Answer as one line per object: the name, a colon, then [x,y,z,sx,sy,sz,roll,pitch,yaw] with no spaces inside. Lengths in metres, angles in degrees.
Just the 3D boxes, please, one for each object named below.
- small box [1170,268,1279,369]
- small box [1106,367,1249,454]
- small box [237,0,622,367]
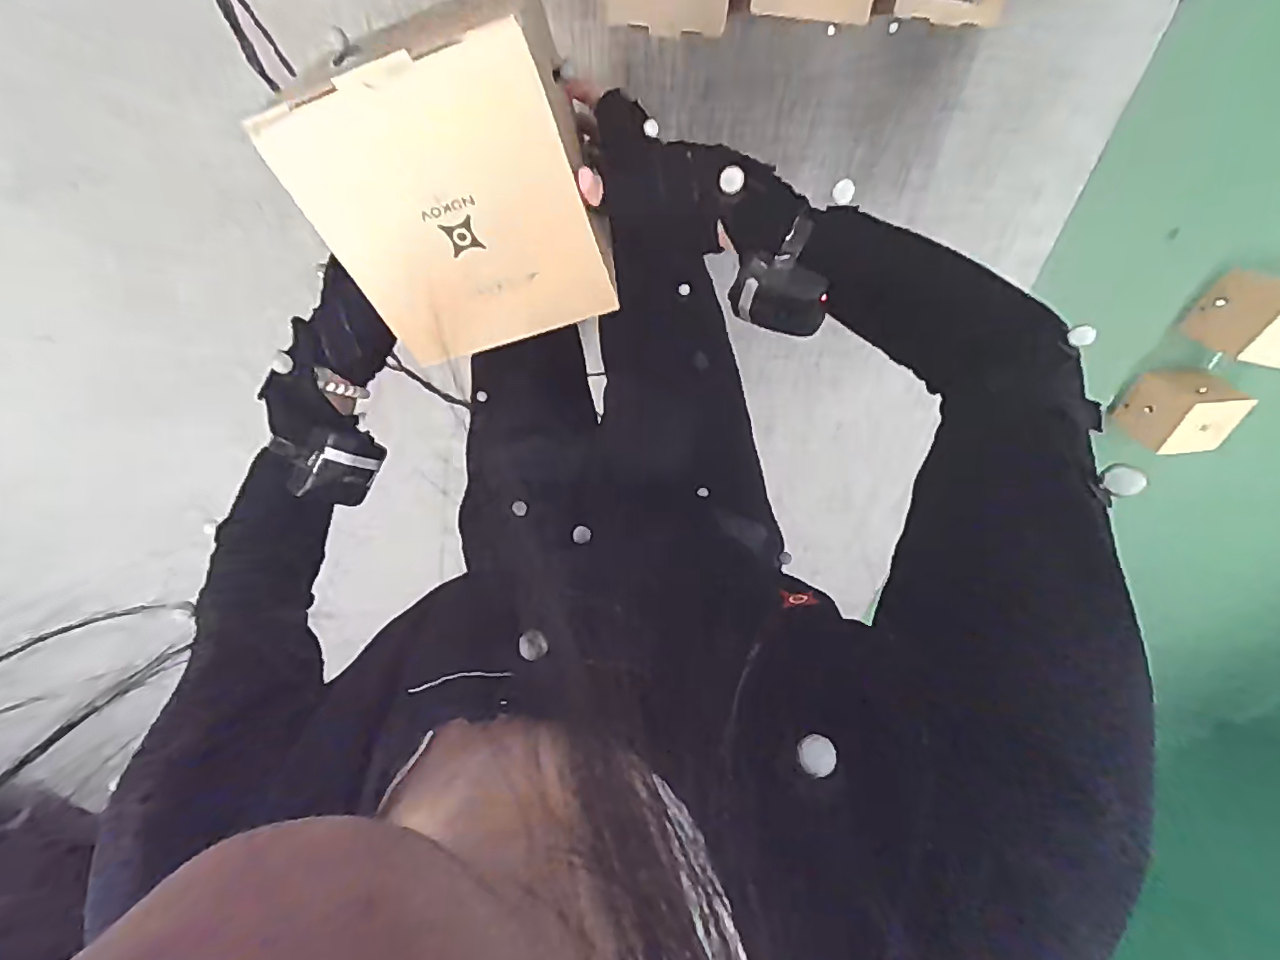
small box: [1.450,-0.385,1.284,0.179,0.176,0.168,6,129,-13]
small box: [1.424,-0.189,1.450,0.179,0.176,0.168,-5,132,-6]
small box: [-0.118,-0.215,0.381,0.168,0.176,0.179,-13,139,7]
